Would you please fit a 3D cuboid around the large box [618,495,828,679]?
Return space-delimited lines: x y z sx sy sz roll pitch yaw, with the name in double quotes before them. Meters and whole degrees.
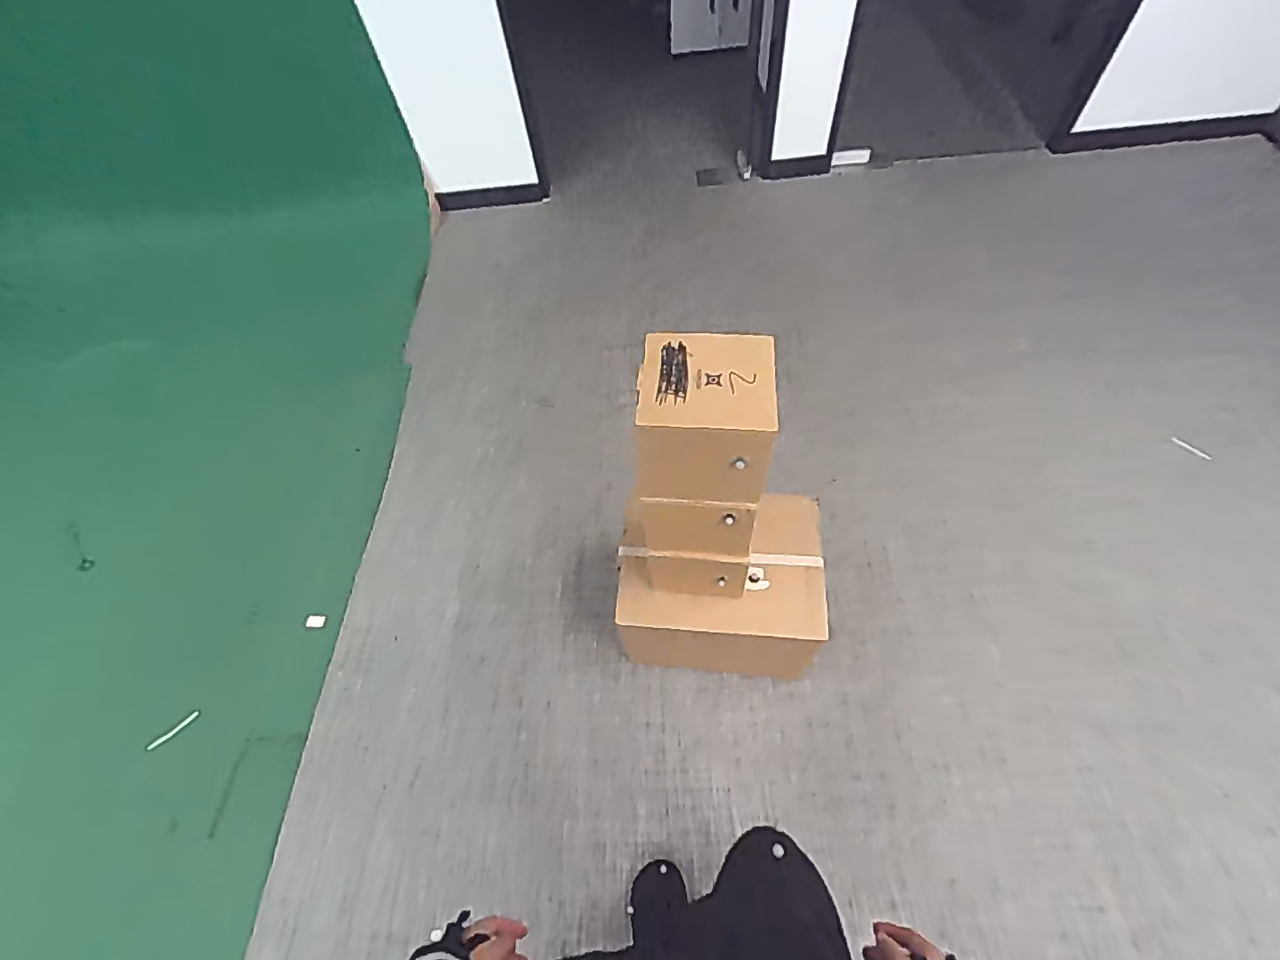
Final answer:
"large box" 0.170 0.247 1.220 0.408 0.320 0.320 3 59 5

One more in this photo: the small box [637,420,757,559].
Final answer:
"small box" 0.095 0.019 0.891 0.179 0.176 0.168 3 56 6

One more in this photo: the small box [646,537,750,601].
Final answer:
"small box" 0.112 0.120 1.018 0.179 0.176 0.168 3 56 8
